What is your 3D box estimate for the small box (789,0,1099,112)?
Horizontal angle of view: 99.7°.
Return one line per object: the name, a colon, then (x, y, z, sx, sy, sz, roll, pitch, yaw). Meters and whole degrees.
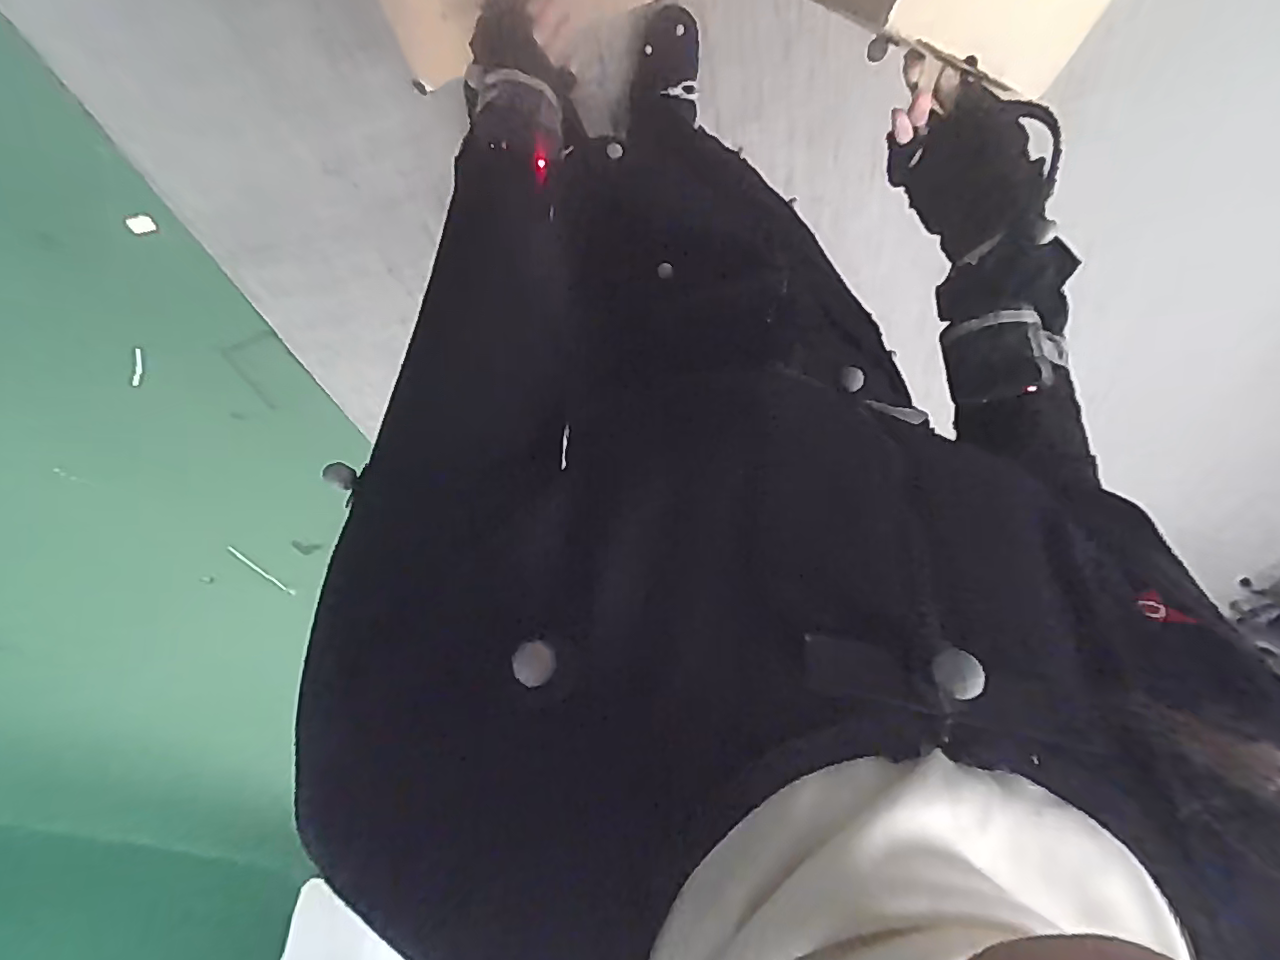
small box: (0.215, -0.392, 0.361, 0.168, 0.176, 0.179, -2, 140, -26)
